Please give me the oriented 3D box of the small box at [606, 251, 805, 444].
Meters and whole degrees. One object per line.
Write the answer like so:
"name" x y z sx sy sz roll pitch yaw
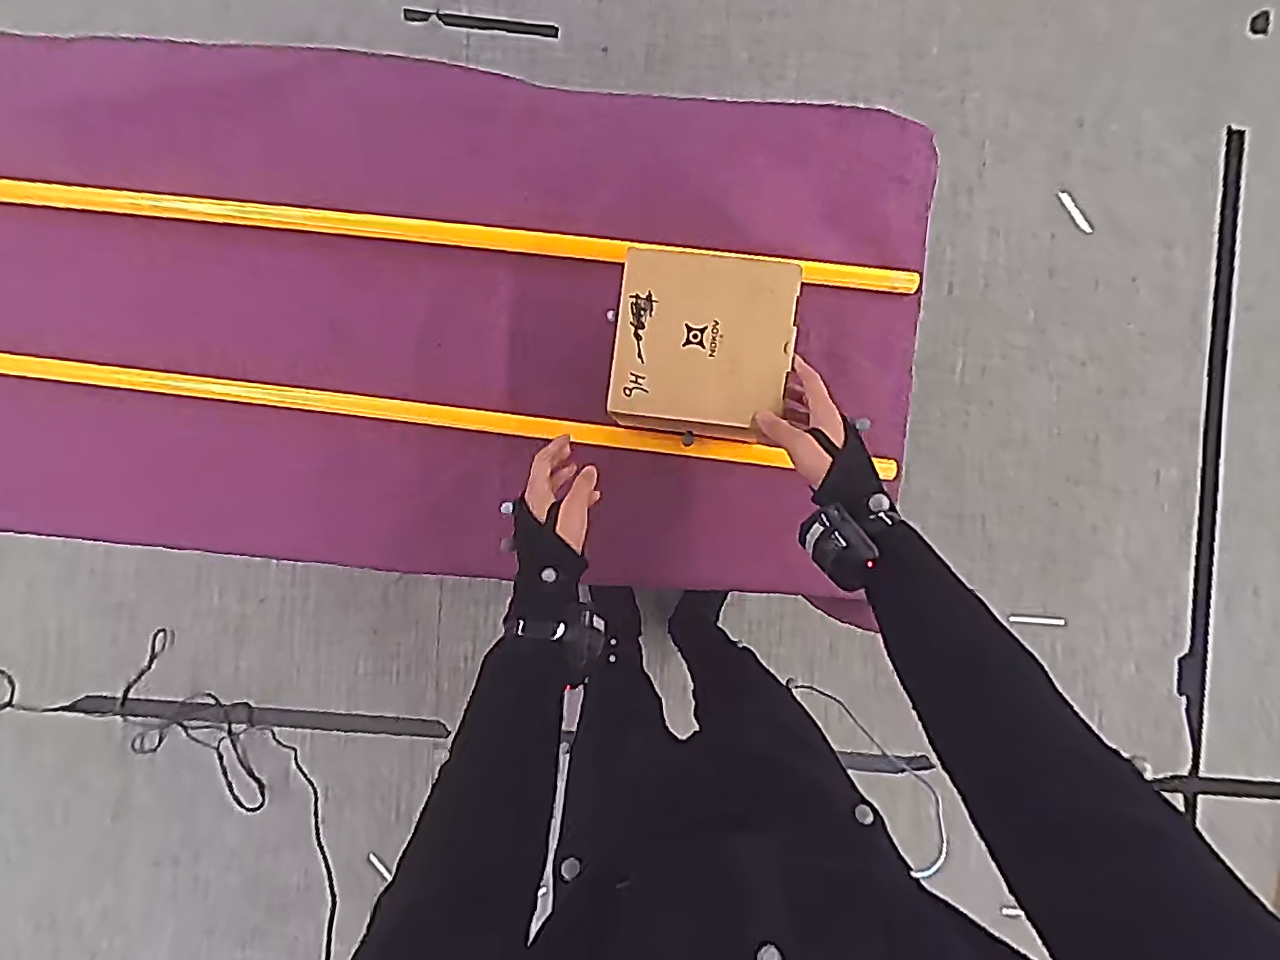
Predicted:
"small box" 0.066 -0.133 0.605 0.179 0.176 0.168 8 91 2
